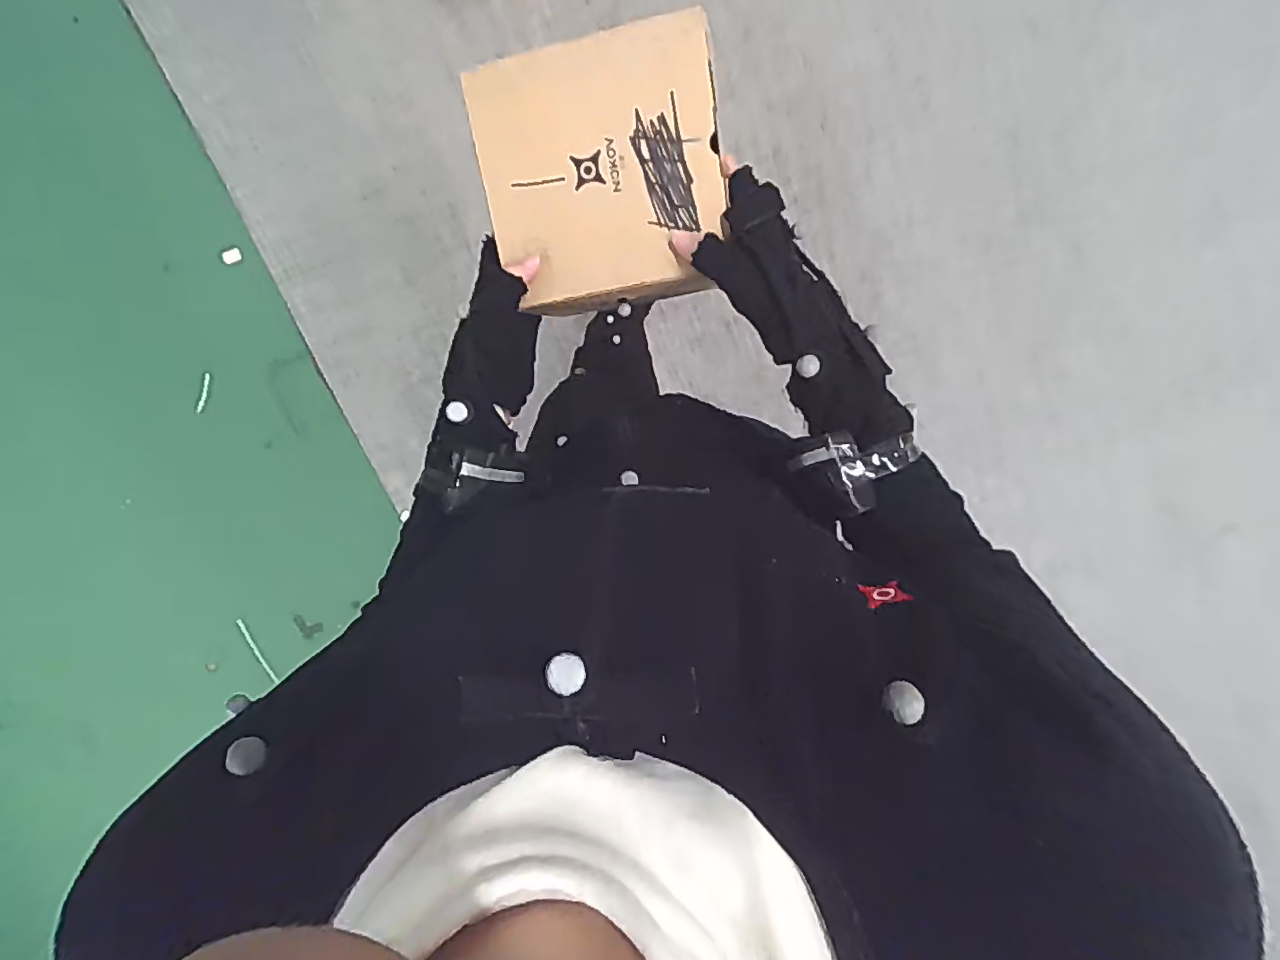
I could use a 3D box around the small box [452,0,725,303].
[{"bbox_3d":[-0.027,-0.252,0.463,0.179,0.176,0.168,-8,104,9],"label":"small box"}]
